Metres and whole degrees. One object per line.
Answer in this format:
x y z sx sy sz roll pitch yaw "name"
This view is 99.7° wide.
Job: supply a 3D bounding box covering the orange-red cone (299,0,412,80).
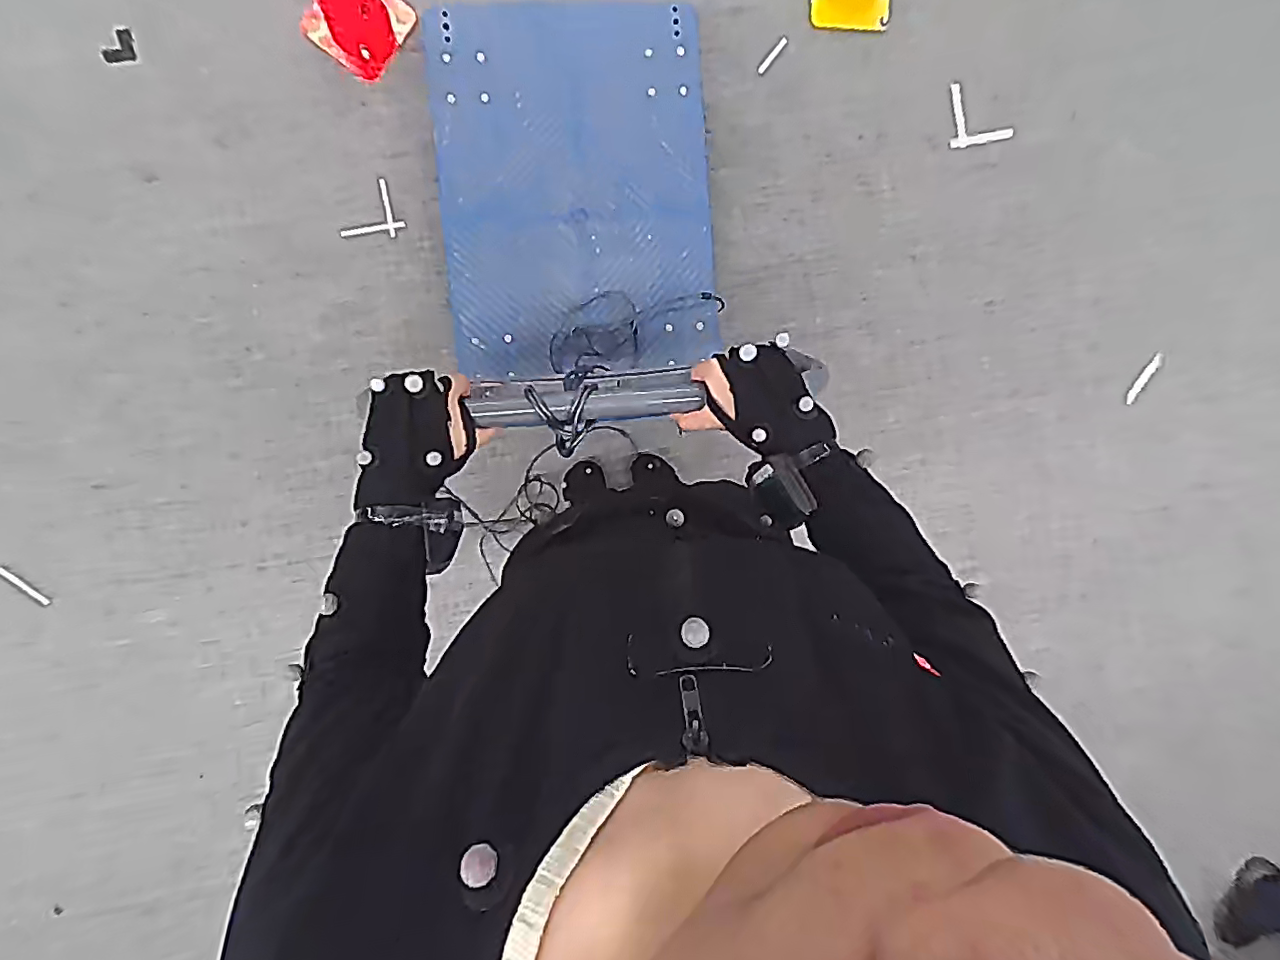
-0.637 -1.046 1.079 0.198 0.360 0.199 36 89 -7 "orange-red cone"
